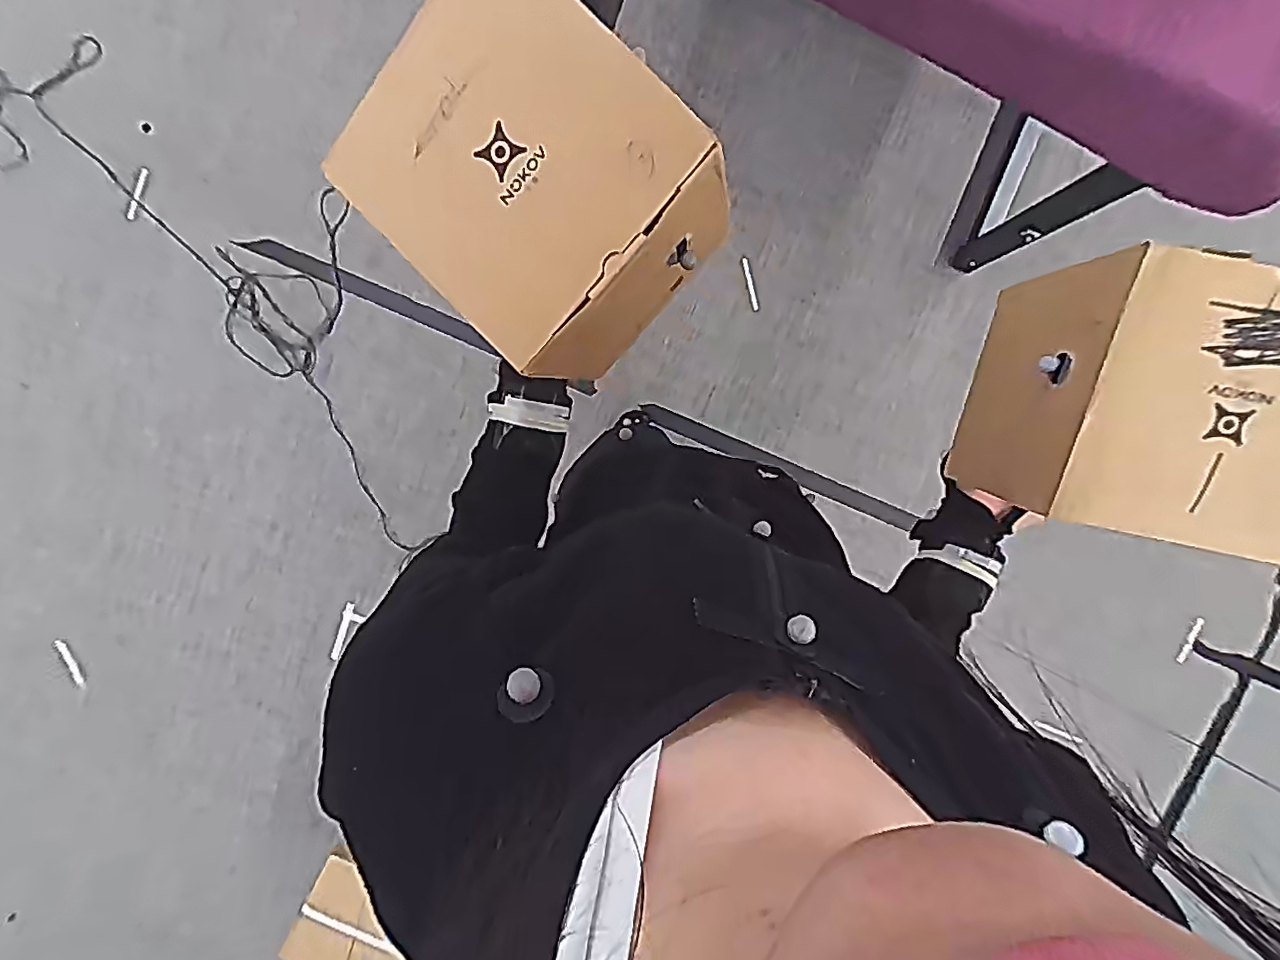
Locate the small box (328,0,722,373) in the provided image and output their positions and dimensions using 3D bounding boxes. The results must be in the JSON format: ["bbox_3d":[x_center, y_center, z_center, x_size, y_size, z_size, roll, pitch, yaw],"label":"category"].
[{"bbox_3d":[-0.057,-0.193,0.379,0.179,0.176,0.168,45,104,2],"label":"small box"}]

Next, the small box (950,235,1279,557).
[{"bbox_3d":[0.371,-0.062,0.413,0.168,0.176,0.179,12,102,5],"label":"small box"}]
